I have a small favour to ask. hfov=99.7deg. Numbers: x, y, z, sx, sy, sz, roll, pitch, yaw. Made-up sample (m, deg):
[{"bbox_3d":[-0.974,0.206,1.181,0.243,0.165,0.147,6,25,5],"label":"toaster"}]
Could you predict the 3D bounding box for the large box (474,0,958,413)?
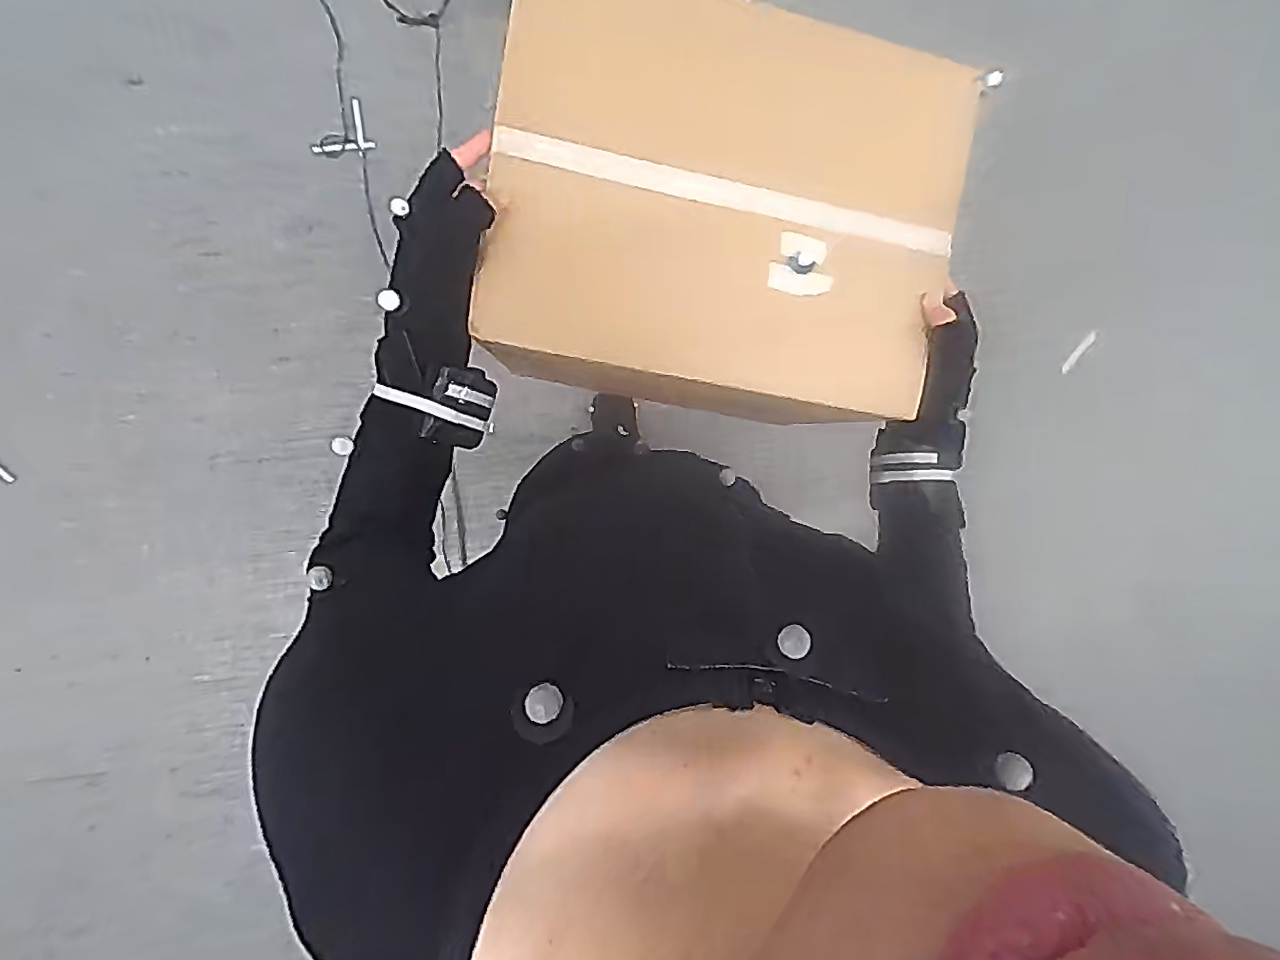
[{"bbox_3d":[0.054,-0.263,0.616,0.408,0.320,0.320,8,94,-8],"label":"large box"}]
